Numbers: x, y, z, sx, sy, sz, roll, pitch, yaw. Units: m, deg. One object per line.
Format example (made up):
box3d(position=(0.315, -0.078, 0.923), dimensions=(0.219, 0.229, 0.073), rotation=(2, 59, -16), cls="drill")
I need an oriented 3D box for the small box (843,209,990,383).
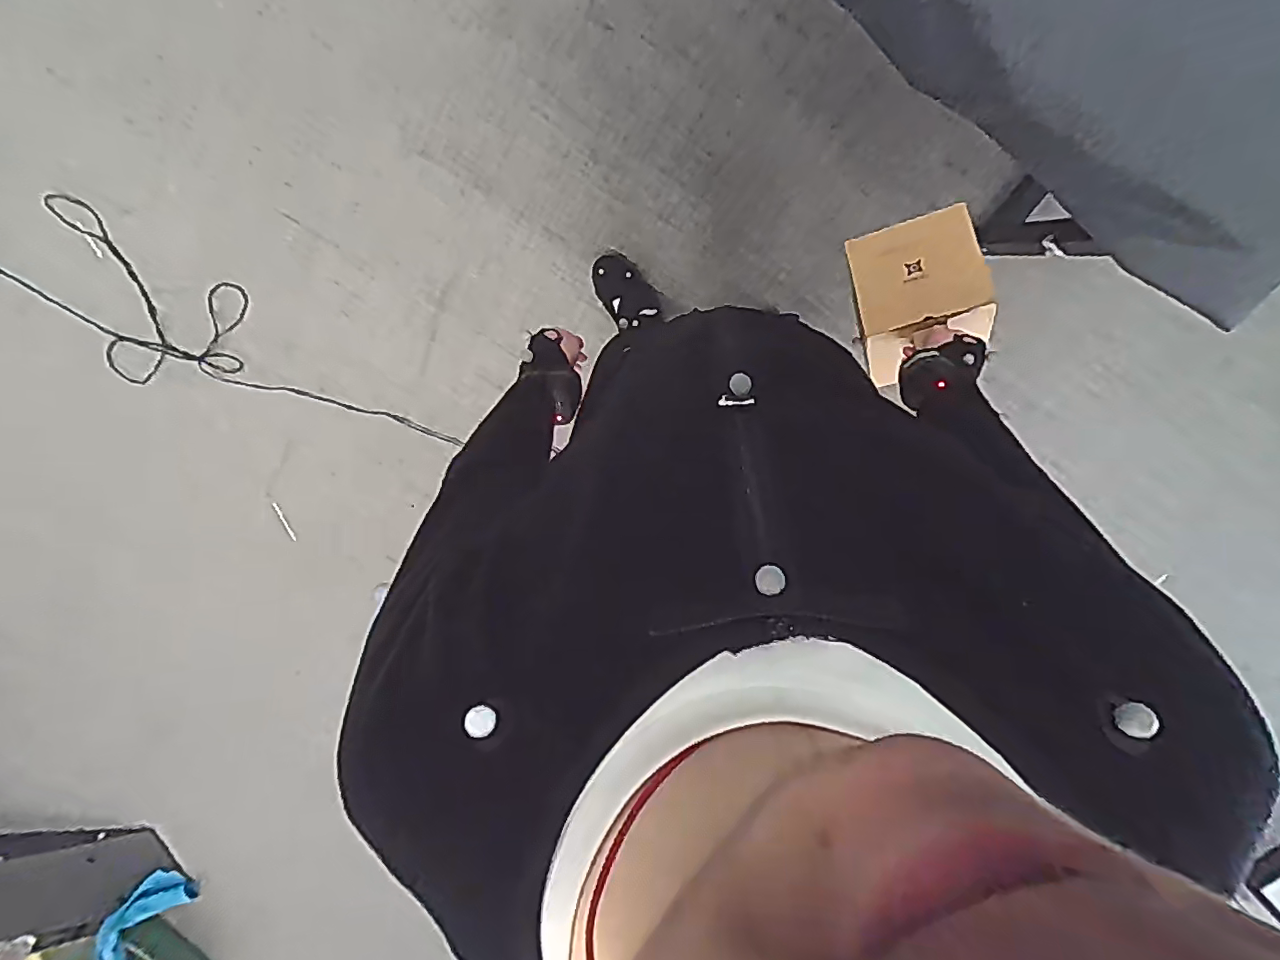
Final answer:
box3d(position=(0.419, -0.266, 0.834), dimensions=(0.168, 0.176, 0.179), rotation=(-11, 67, 22), cls="small box")
